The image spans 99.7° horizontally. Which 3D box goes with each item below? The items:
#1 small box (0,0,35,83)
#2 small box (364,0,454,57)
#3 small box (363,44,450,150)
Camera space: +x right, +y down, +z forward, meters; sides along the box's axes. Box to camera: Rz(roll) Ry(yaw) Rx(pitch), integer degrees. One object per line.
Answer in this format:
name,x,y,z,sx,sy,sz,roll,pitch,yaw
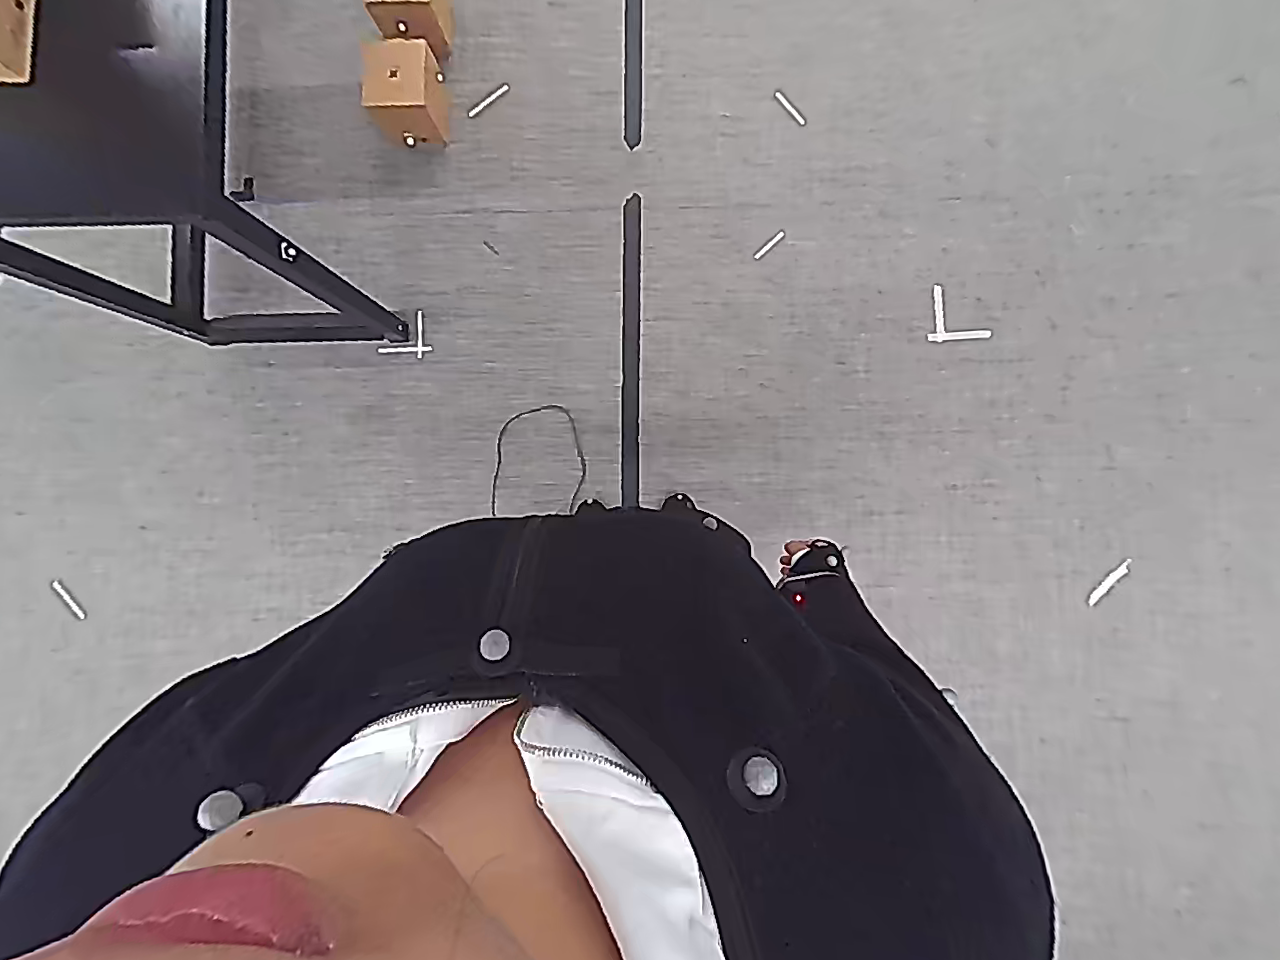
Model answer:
small box,-1.005,-0.686,0.743,0.179,0.176,0.168,3,88,2
small box,-0.628,-1.303,1.482,0.179,0.176,0.168,-1,89,2
small box,-0.631,-1.040,1.477,0.168,0.176,0.179,-1,89,2
